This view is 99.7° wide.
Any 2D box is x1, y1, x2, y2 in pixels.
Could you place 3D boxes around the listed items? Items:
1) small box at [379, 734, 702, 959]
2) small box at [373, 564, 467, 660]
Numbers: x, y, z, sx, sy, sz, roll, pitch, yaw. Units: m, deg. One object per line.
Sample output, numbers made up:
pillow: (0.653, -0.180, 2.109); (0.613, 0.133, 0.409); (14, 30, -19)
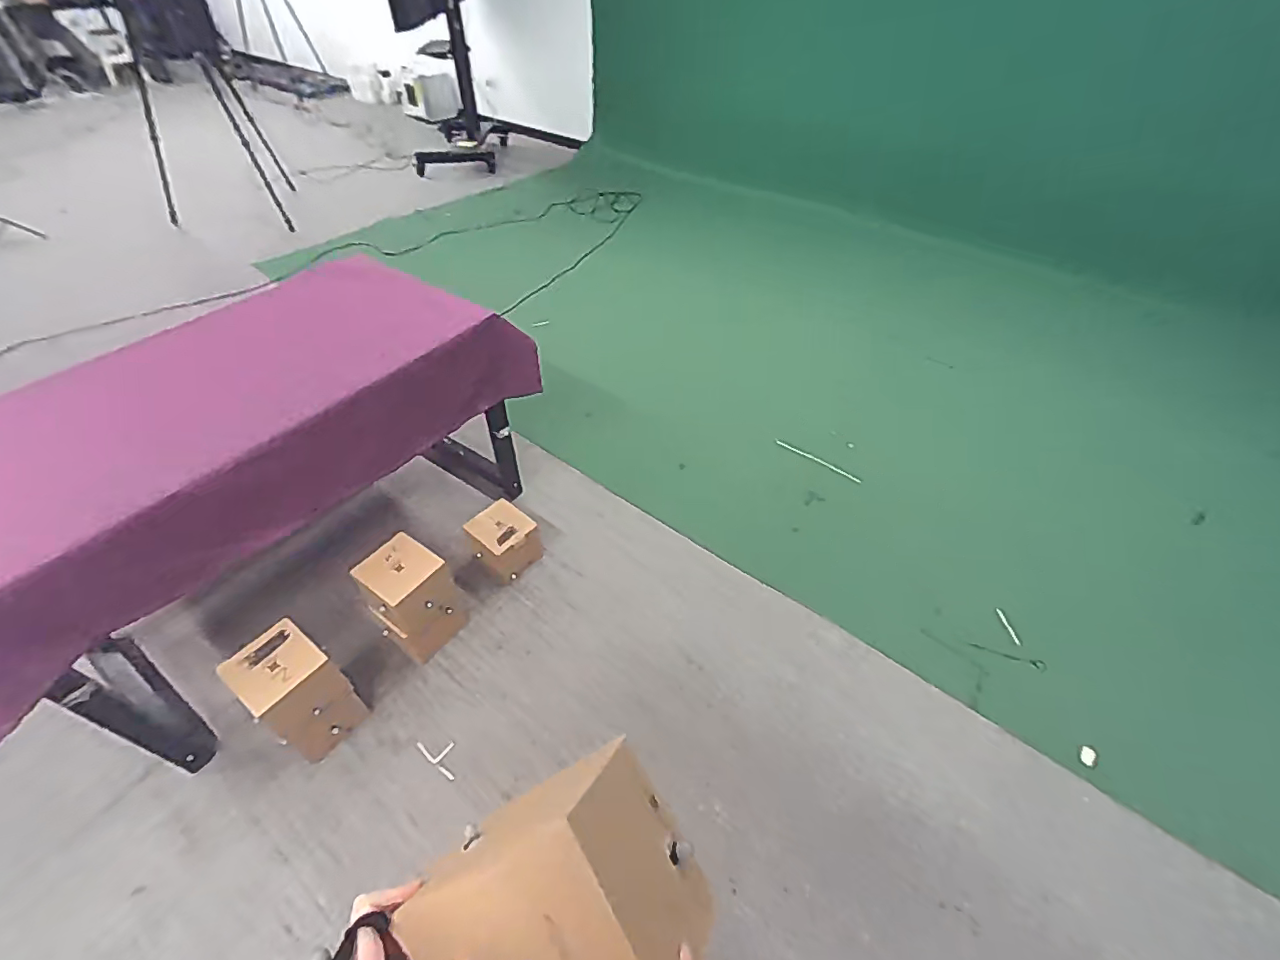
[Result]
small box: (-0.068, 0.351, 0.455); (0.179, 0.176, 0.168); (-34, 78, 9)
small box: (-0.632, 0.388, 1.577); (0.168, 0.176, 0.179); (29, 52, 23)
